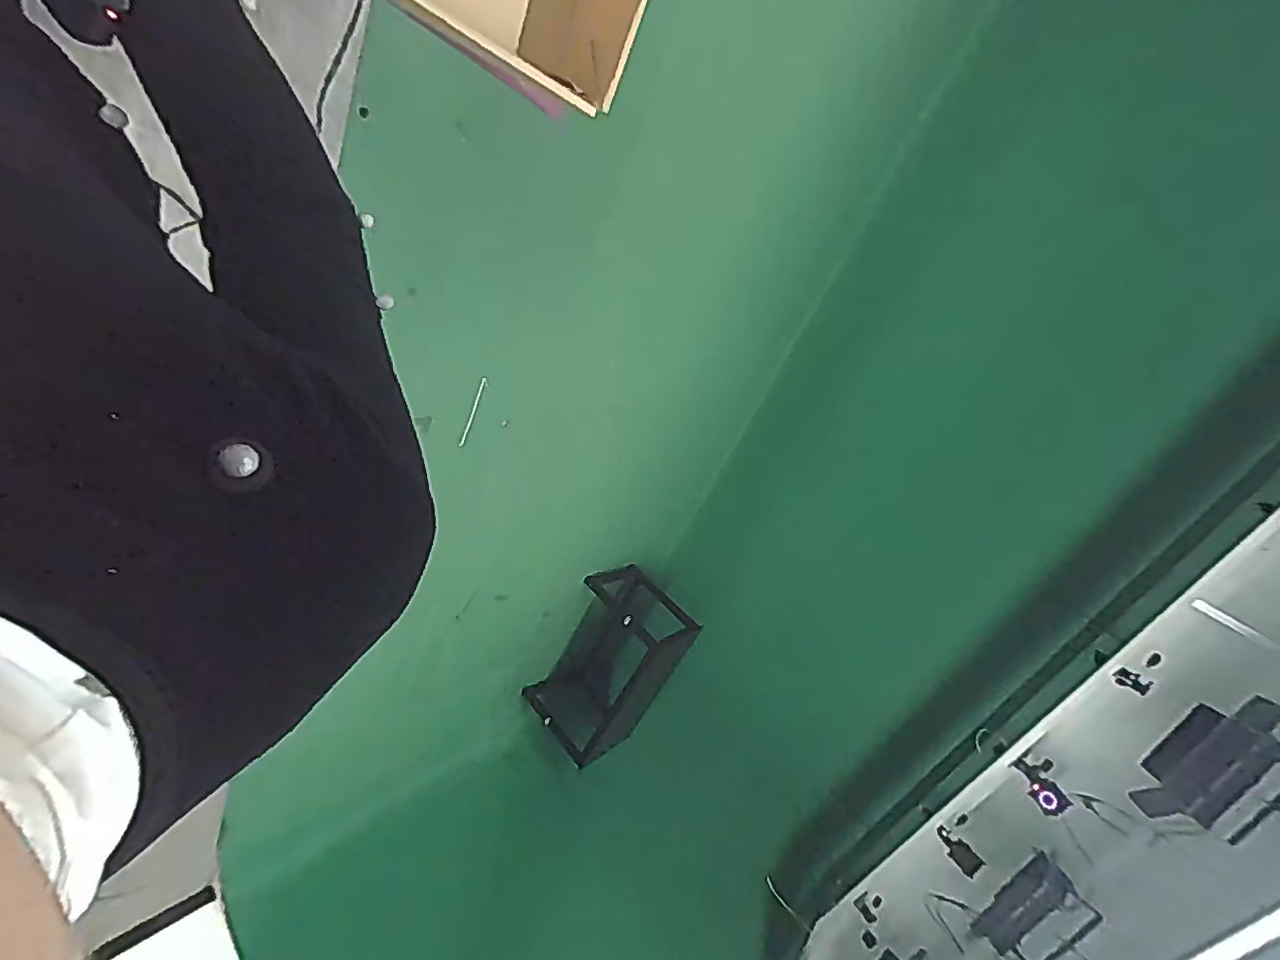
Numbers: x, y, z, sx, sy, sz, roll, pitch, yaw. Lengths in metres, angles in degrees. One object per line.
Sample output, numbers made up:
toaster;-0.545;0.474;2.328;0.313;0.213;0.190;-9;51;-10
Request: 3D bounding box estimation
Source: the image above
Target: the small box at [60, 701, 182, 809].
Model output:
small box;-1.408;0.741;1.464;0.179;0.176;0.168;-36;149;-27
